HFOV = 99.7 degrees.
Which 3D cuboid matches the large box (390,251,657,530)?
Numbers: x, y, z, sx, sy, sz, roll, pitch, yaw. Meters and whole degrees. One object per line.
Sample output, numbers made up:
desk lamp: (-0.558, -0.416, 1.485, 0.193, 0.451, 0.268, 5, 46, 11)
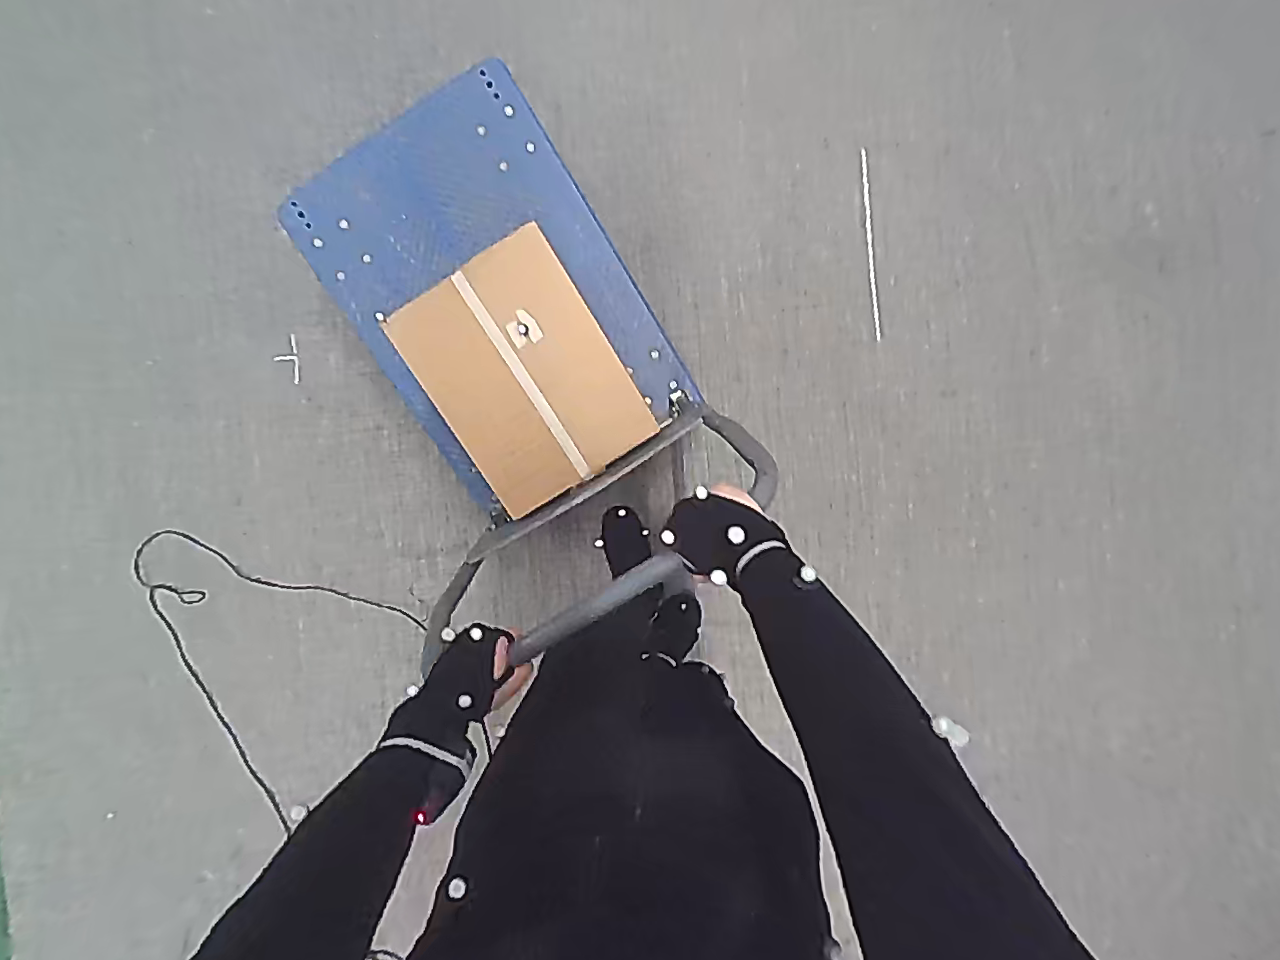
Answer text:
large box: (-0.200, -0.170, 1.098, 0.320, 0.320, 0.408, -32, 98, 4)
